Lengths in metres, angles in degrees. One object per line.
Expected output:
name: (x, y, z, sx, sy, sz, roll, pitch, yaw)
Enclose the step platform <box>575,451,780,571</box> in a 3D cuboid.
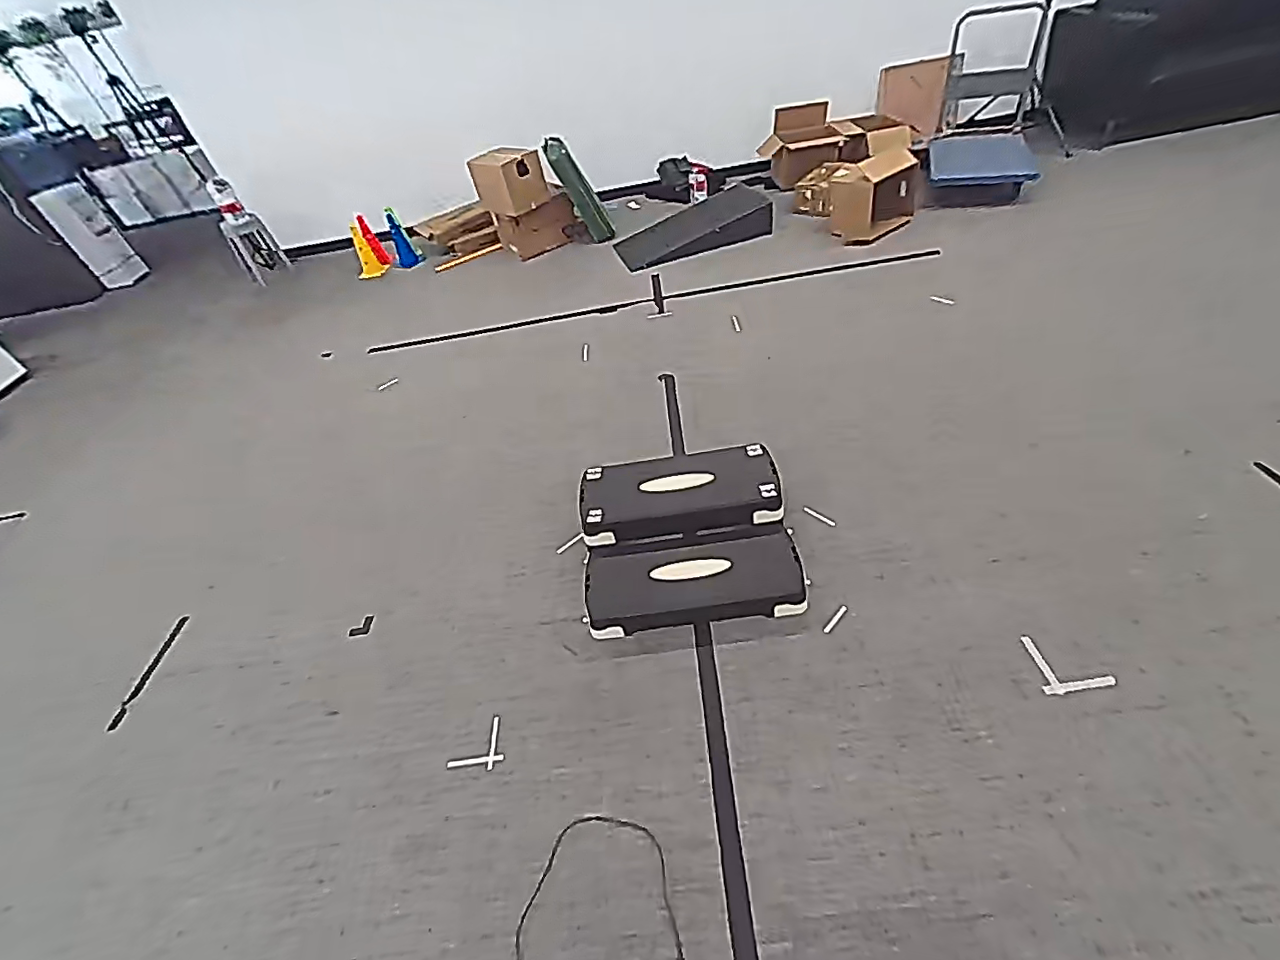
step platform: (0.122, 0.100, 1.846, 0.684, 0.204, 0.286, -9, 45, 3)
